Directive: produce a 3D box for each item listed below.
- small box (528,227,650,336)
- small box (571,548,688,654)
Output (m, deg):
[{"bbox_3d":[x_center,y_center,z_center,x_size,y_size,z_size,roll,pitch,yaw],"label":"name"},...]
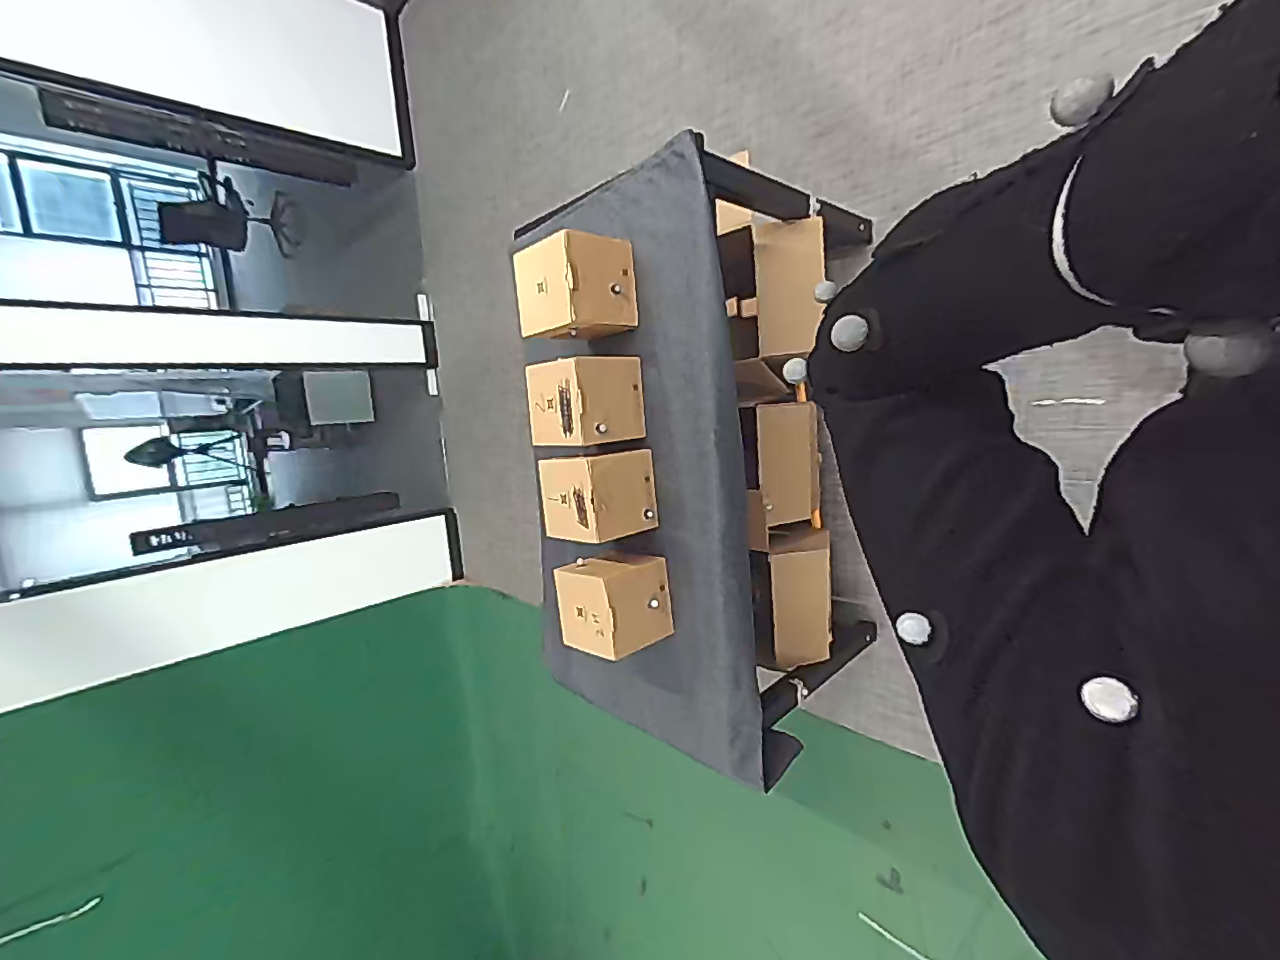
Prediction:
[{"bbox_3d":[-0.102,-0.388,1.093,0.179,0.176,0.168,2,100,47],"label":"small box"},{"bbox_3d":[-0.021,0.246,1.150,0.179,0.176,0.168,-3,97,48],"label":"small box"}]
